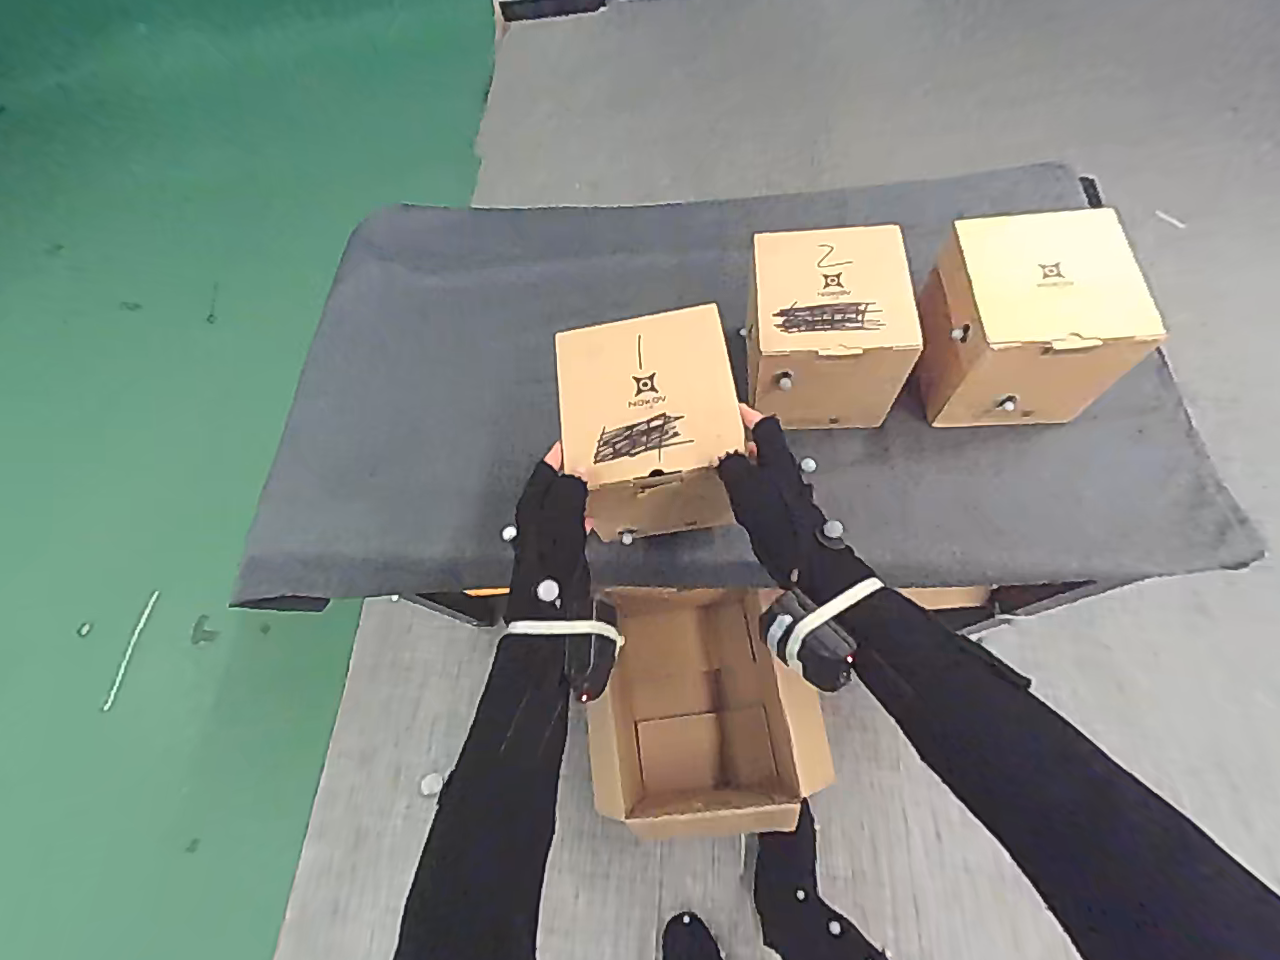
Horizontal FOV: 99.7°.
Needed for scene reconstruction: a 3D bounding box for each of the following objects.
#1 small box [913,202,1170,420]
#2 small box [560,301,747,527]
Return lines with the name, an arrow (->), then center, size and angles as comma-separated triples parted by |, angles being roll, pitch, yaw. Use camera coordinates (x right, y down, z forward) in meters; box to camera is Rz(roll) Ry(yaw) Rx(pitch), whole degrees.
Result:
small box -> 0.443, -0.189, 0.638 | 0.168, 0.176, 0.179 | -3, 66, 8
small box -> 0.020, -0.056, 0.583 | 0.168, 0.176, 0.179 | -10, 67, 5
